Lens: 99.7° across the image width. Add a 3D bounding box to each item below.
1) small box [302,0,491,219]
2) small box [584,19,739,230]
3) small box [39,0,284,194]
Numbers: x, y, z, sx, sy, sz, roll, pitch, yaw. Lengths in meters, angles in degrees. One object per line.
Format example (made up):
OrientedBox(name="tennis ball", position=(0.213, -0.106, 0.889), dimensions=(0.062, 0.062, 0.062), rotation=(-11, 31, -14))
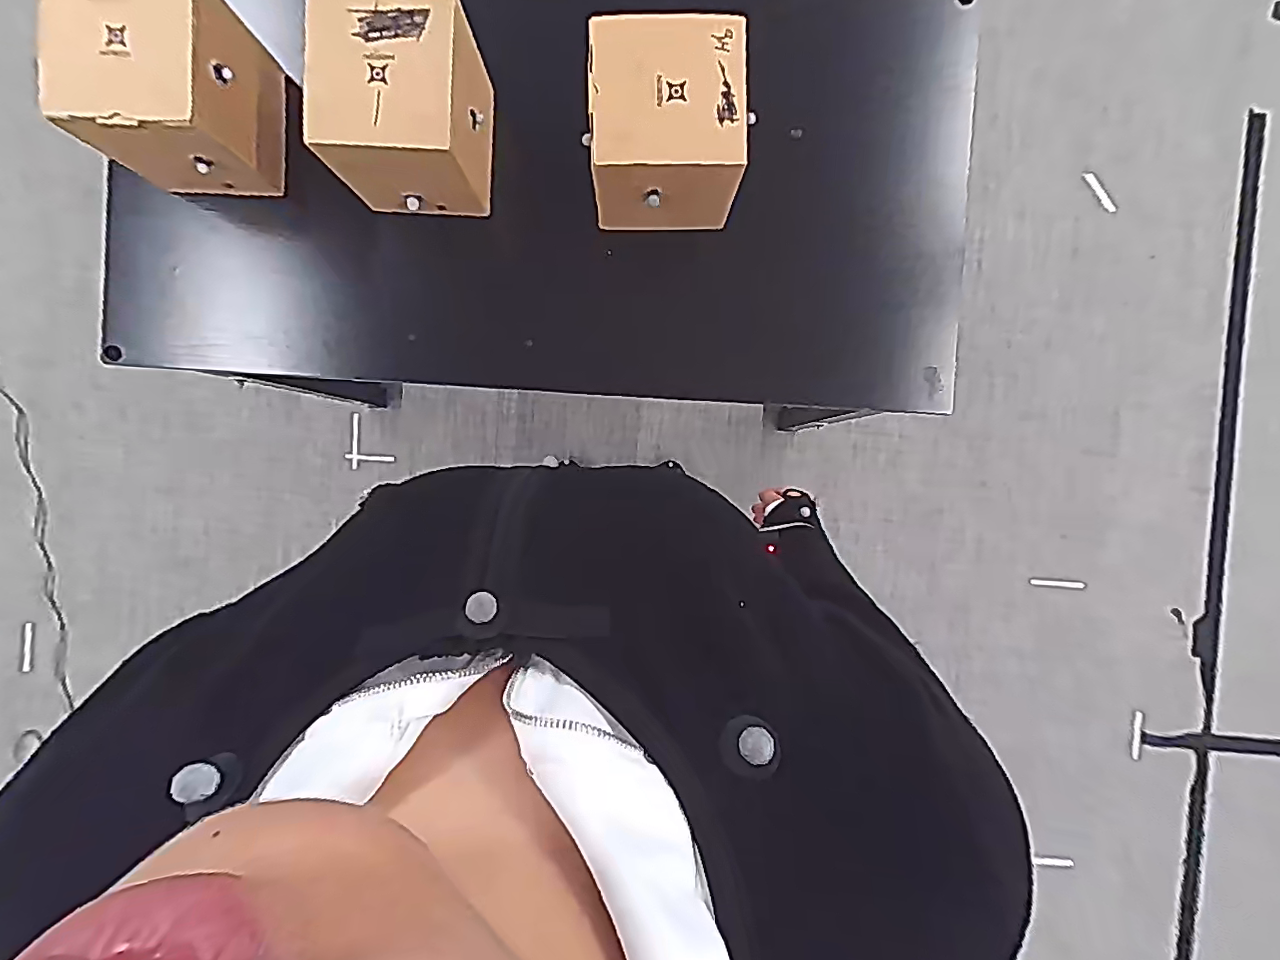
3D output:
OrientedBox(name="small box", position=(-0.291, -0.459, 0.680), dimensions=(0.168, 0.176, 0.179), rotation=(3, 92, -1))
OrientedBox(name="small box", position=(0.026, -0.434, 0.687), dimensions=(0.179, 0.176, 0.168), rotation=(-1, 92, 0))
OrientedBox(name="small box", position=(-0.577, -0.484, 0.675), dimensions=(0.168, 0.176, 0.179), rotation=(1, 91, -2))
